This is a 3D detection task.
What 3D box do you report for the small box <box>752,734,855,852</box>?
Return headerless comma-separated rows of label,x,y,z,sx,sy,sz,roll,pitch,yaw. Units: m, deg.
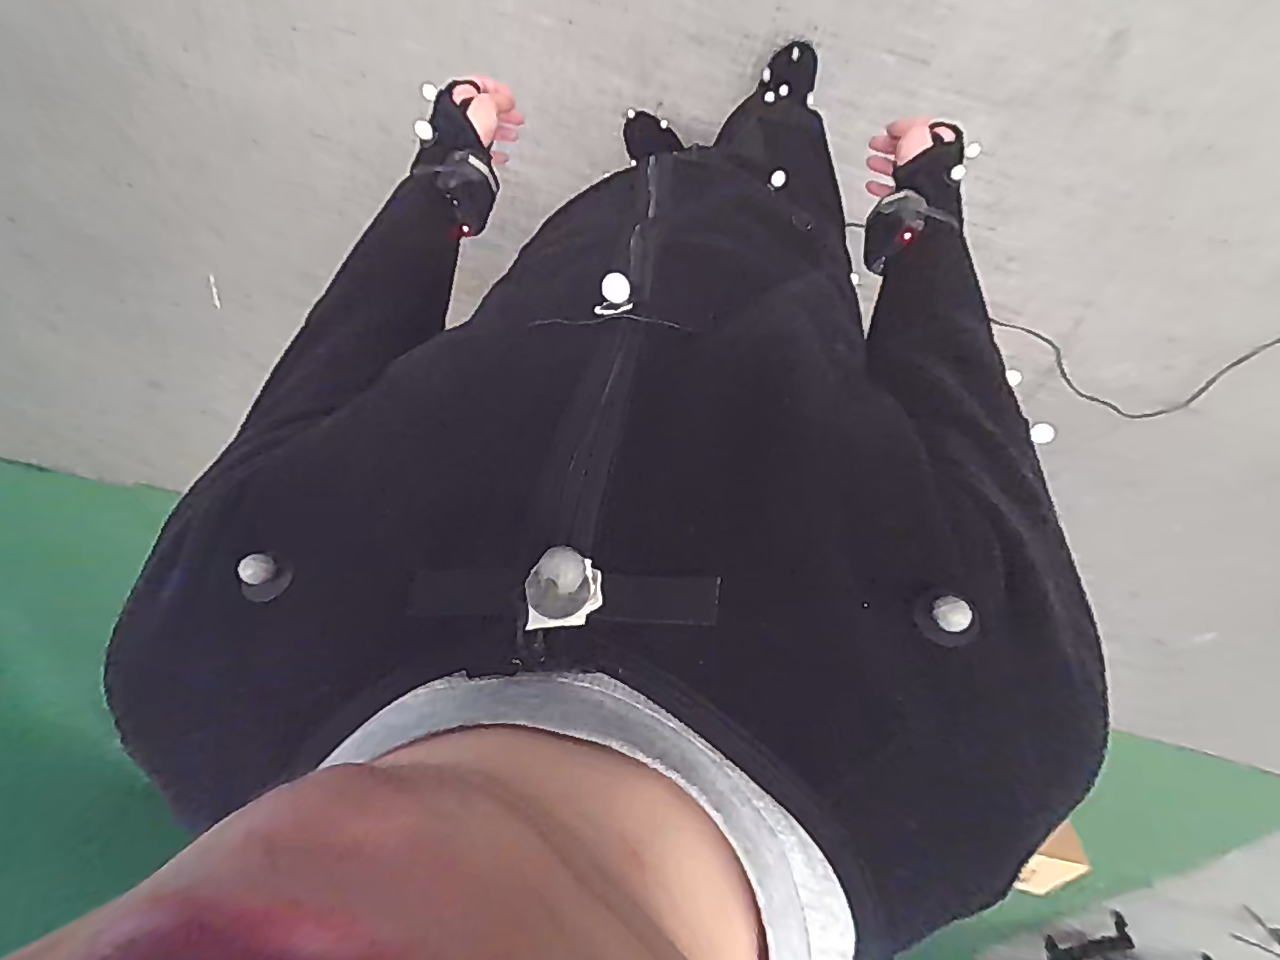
small box,0.360,0.710,1.234,0.168,0.176,0.179,15,127,-1
